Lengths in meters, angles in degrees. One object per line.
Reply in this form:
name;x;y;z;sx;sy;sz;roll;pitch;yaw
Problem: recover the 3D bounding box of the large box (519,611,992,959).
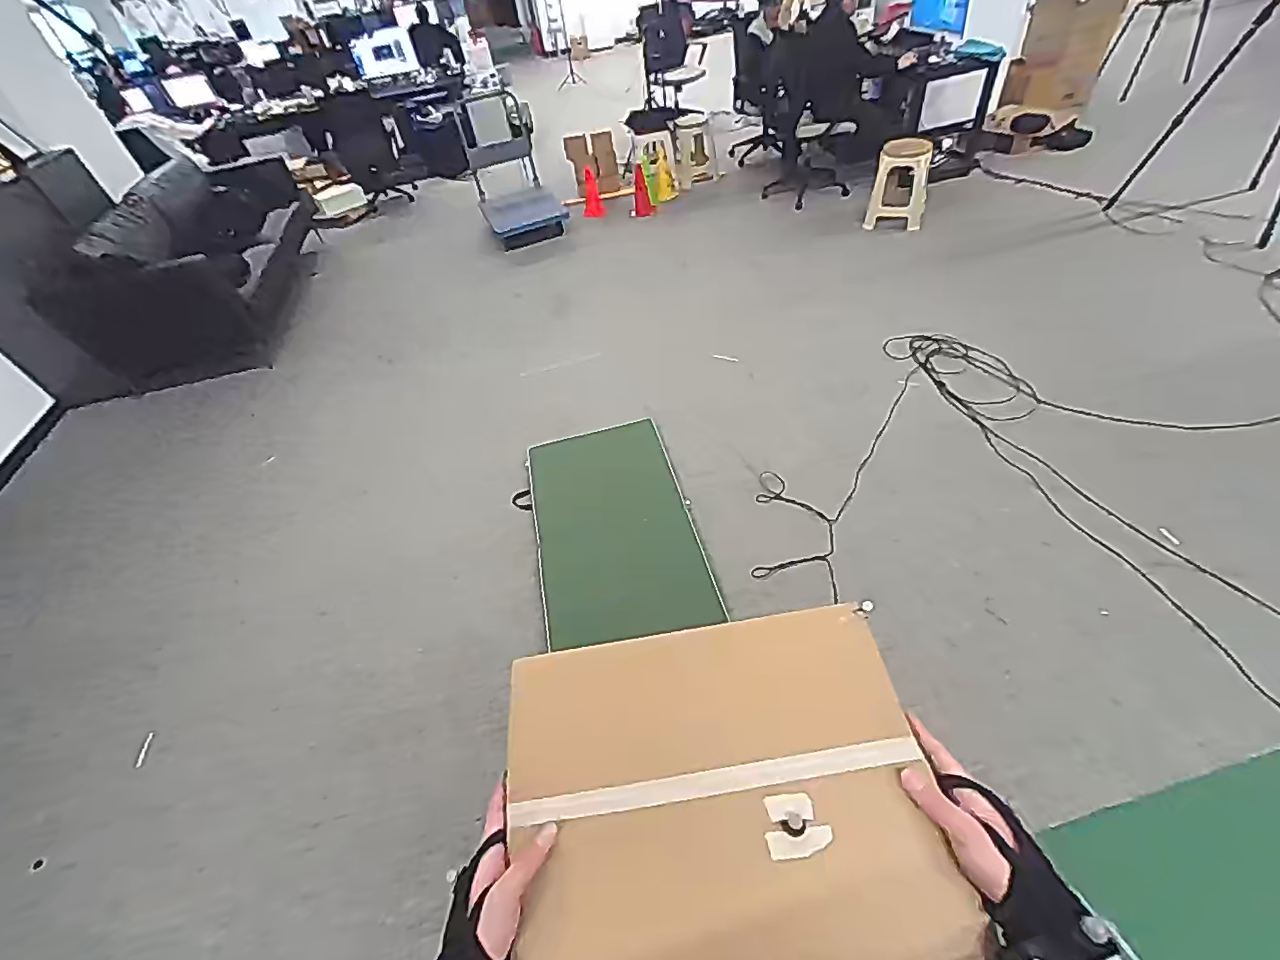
large box;0.091;0.397;0.648;0.408;0.320;0.320;-10;51;1
